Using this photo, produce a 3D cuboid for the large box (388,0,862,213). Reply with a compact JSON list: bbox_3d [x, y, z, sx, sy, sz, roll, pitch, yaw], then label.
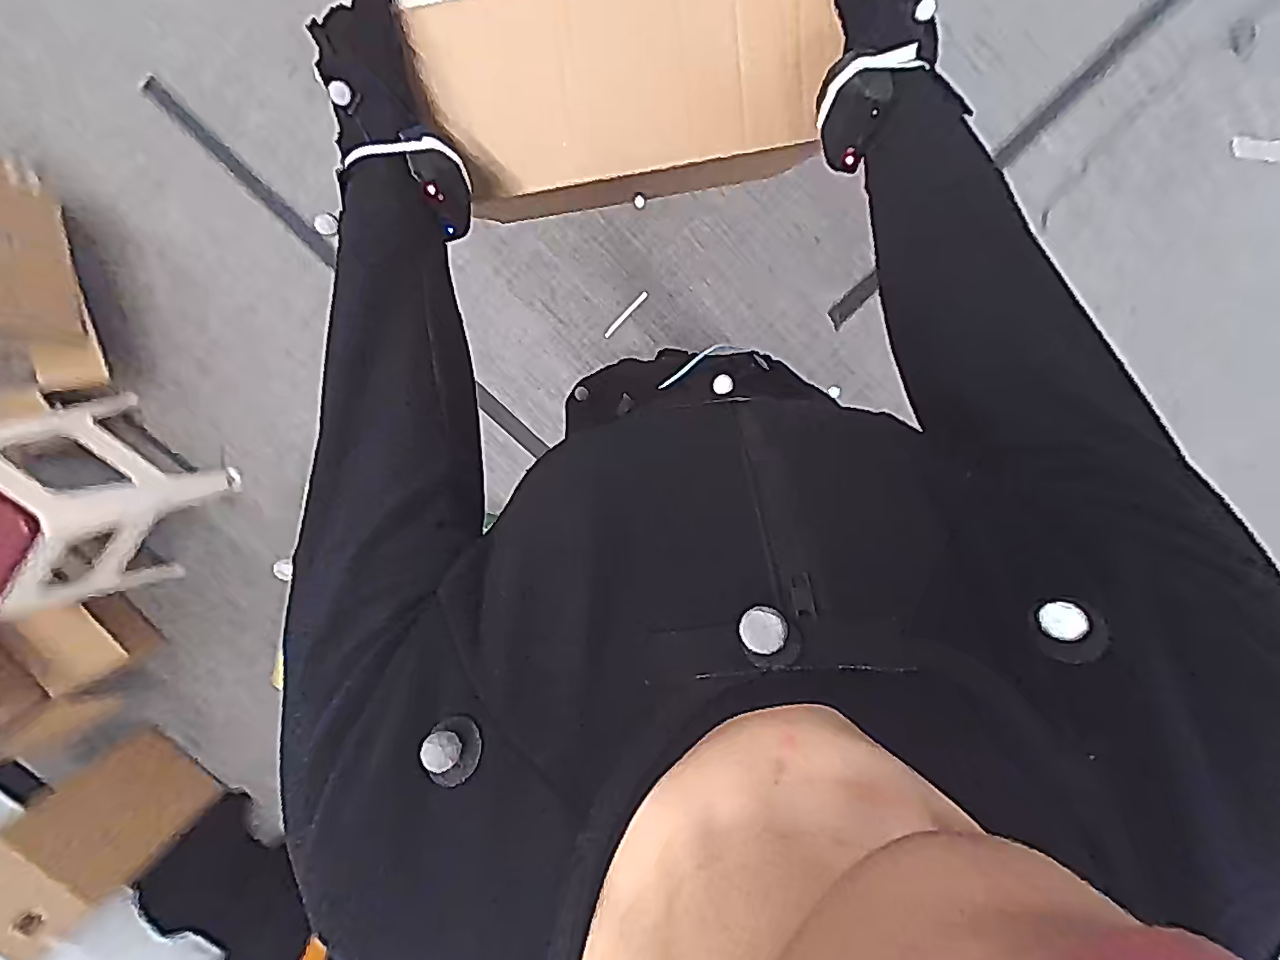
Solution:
[{"bbox_3d":[-0.014,-0.490,0.580,0.408,0.320,0.320,-7,112,4],"label":"large box"}]
